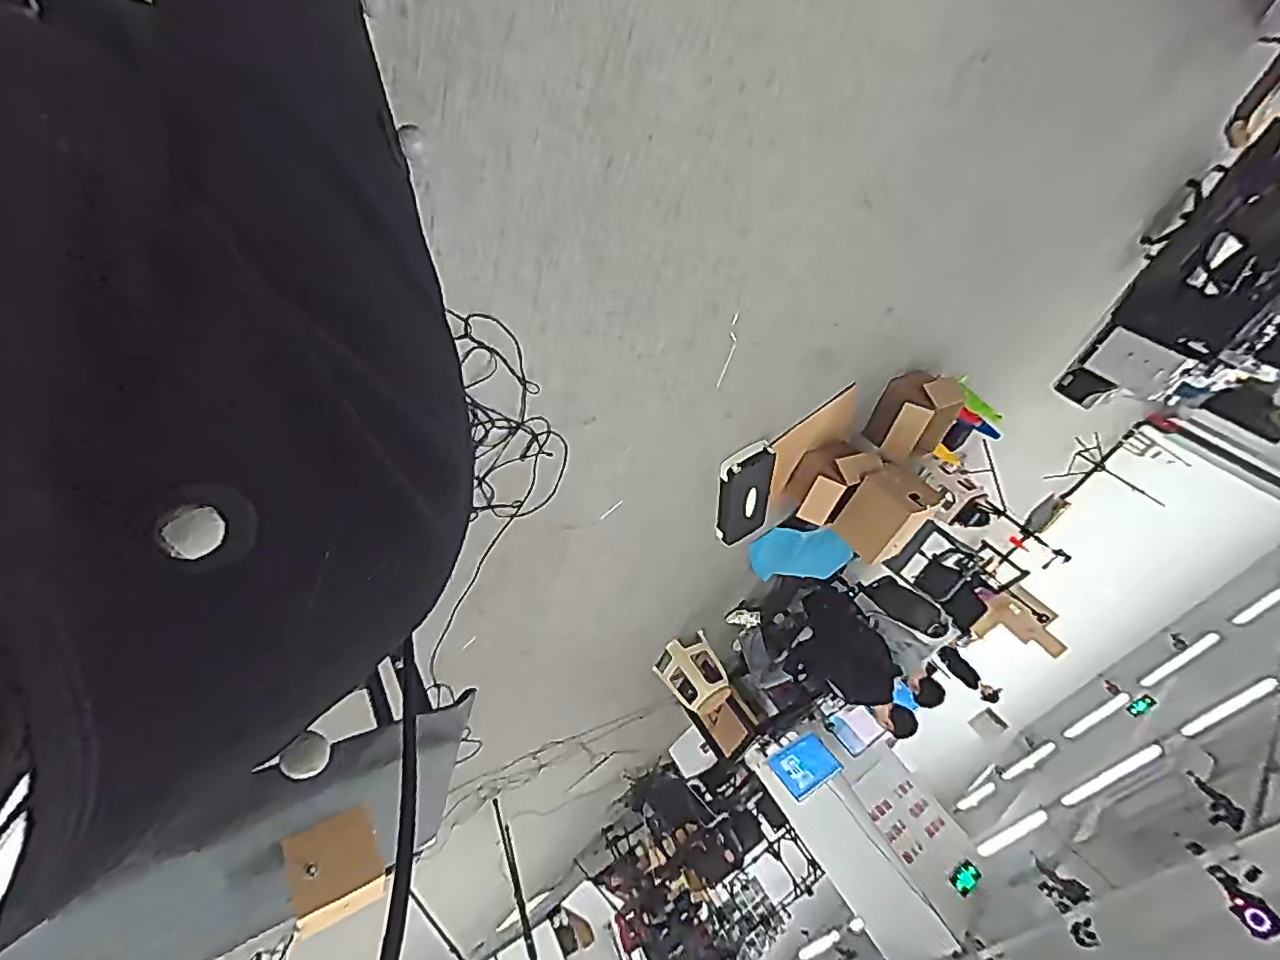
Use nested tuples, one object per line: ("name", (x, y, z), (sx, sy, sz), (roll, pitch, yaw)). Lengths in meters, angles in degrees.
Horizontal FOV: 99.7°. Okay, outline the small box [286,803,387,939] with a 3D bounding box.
("small box", (-0.705, 0.897, 1.251), (0.179, 0.176, 0.168), (-11, 138, -37))
